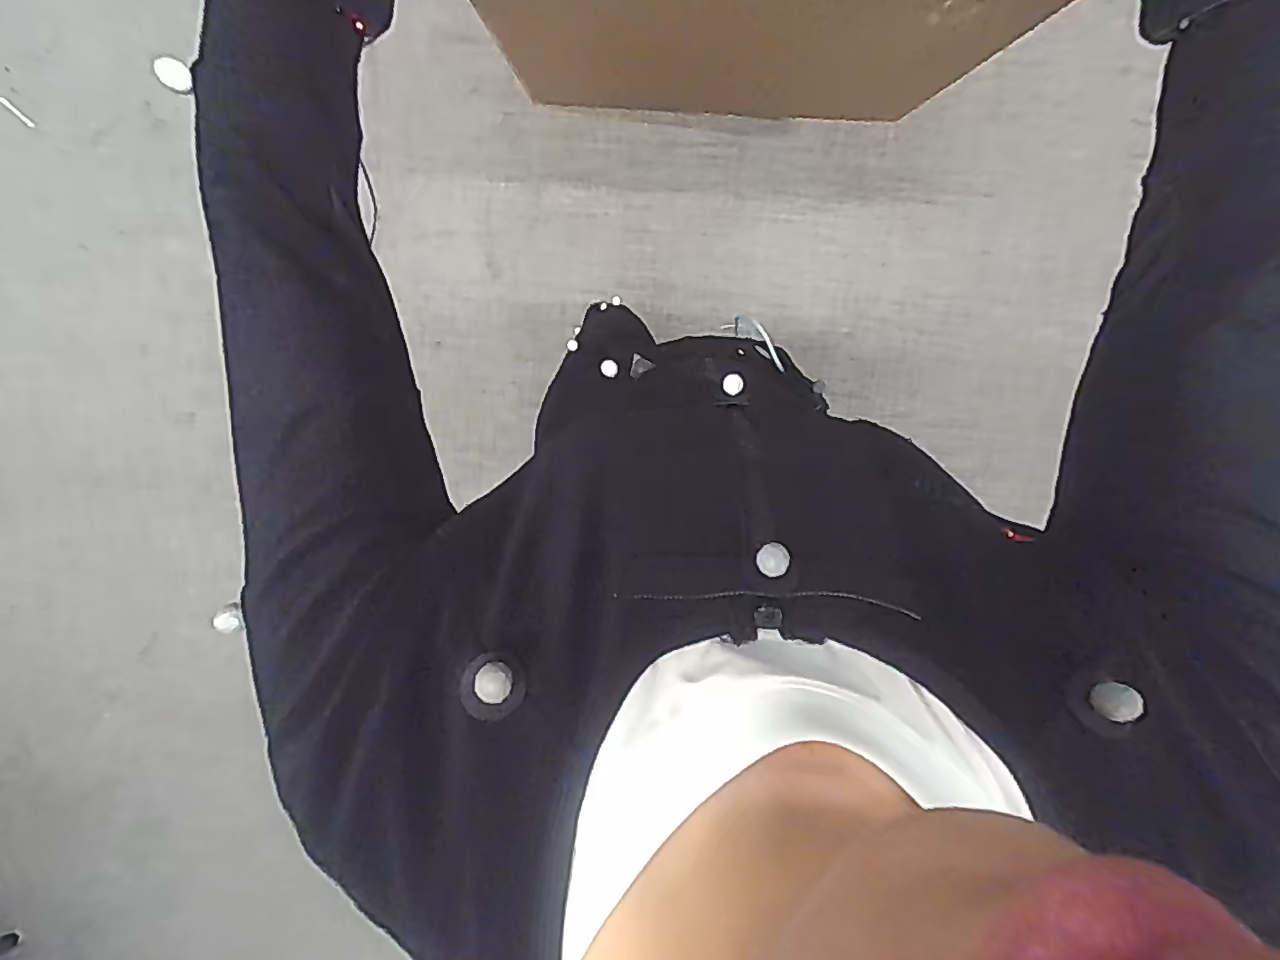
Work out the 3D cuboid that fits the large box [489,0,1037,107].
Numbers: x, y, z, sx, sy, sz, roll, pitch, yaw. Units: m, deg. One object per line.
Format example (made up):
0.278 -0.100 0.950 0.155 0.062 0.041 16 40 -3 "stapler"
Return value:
0.087 -0.505 0.400 0.408 0.320 0.320 2 110 -1 "large box"
